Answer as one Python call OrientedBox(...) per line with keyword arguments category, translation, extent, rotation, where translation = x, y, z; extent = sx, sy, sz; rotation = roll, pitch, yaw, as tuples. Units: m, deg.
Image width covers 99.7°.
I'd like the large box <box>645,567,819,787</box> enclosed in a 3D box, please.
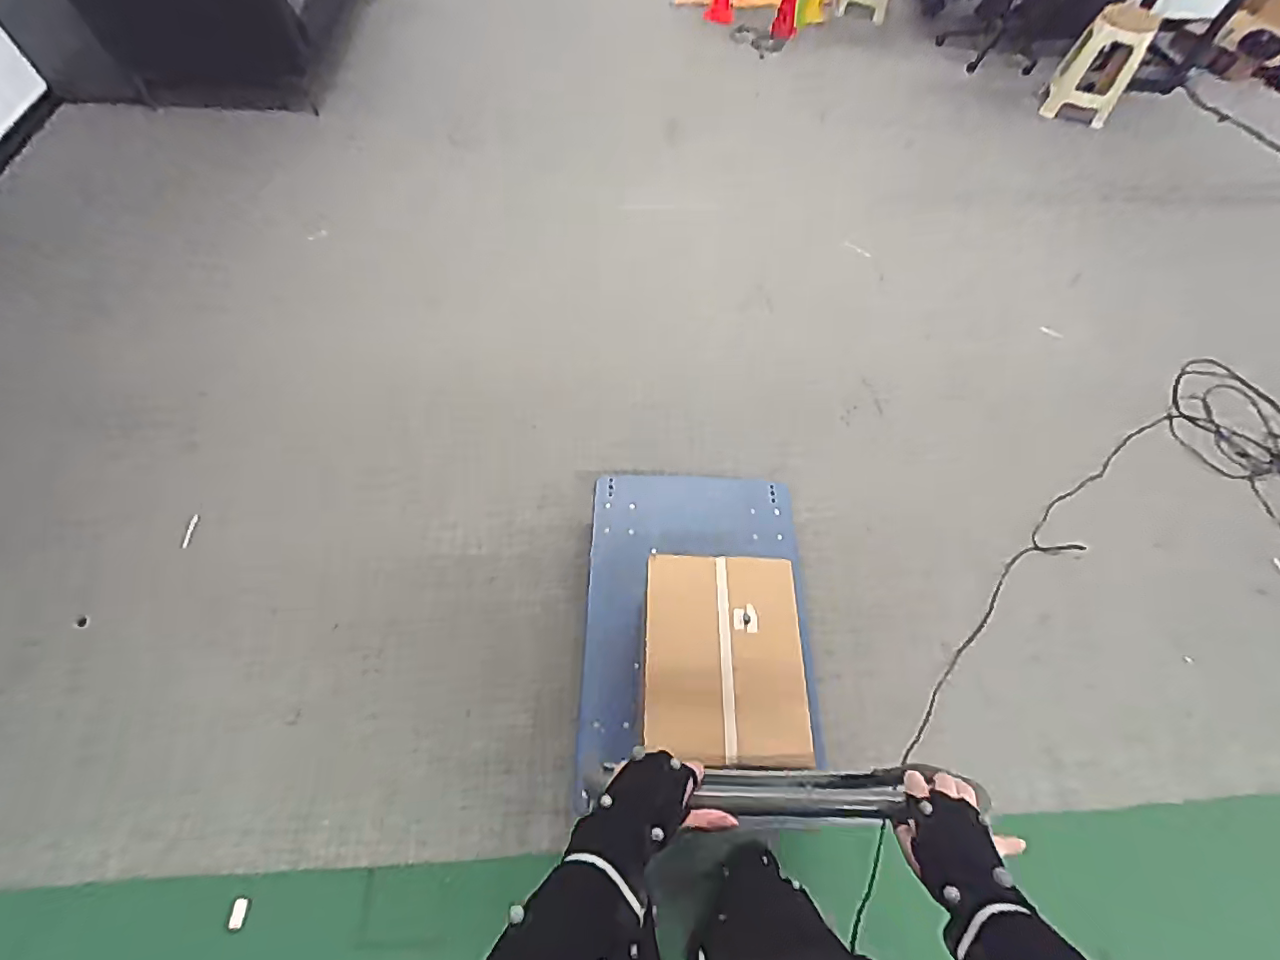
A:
OrientedBox(category="large box", translation=(0.166, 0.438, 1.190), extent=(0.320, 0.320, 0.408), rotation=(2, 58, -1))
